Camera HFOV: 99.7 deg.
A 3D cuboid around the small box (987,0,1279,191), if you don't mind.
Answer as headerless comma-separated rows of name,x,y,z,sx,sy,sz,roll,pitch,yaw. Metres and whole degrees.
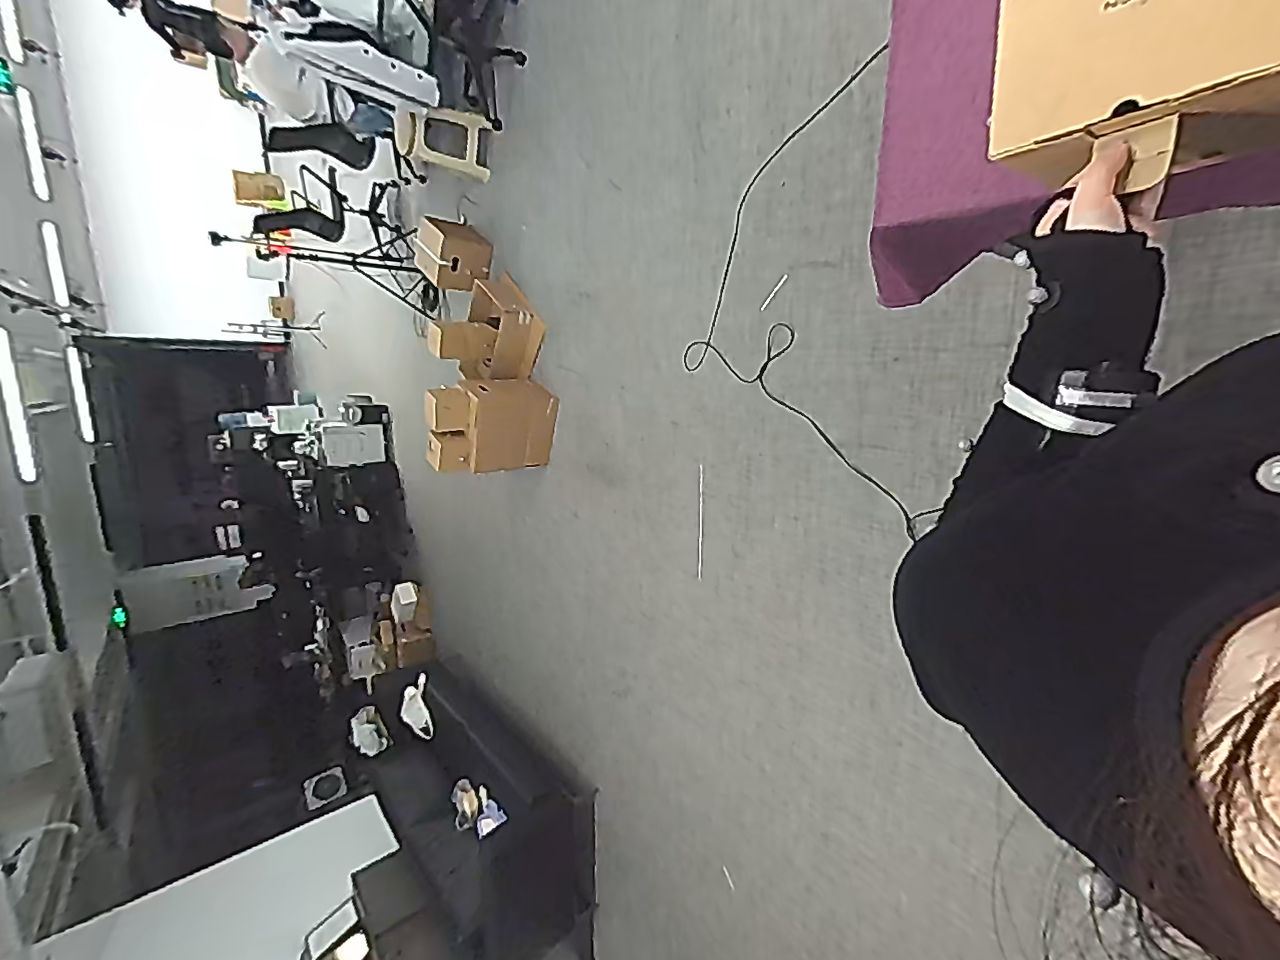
small box,0.394,-0.345,0.407,0.168,0.176,0.179,12,108,53
